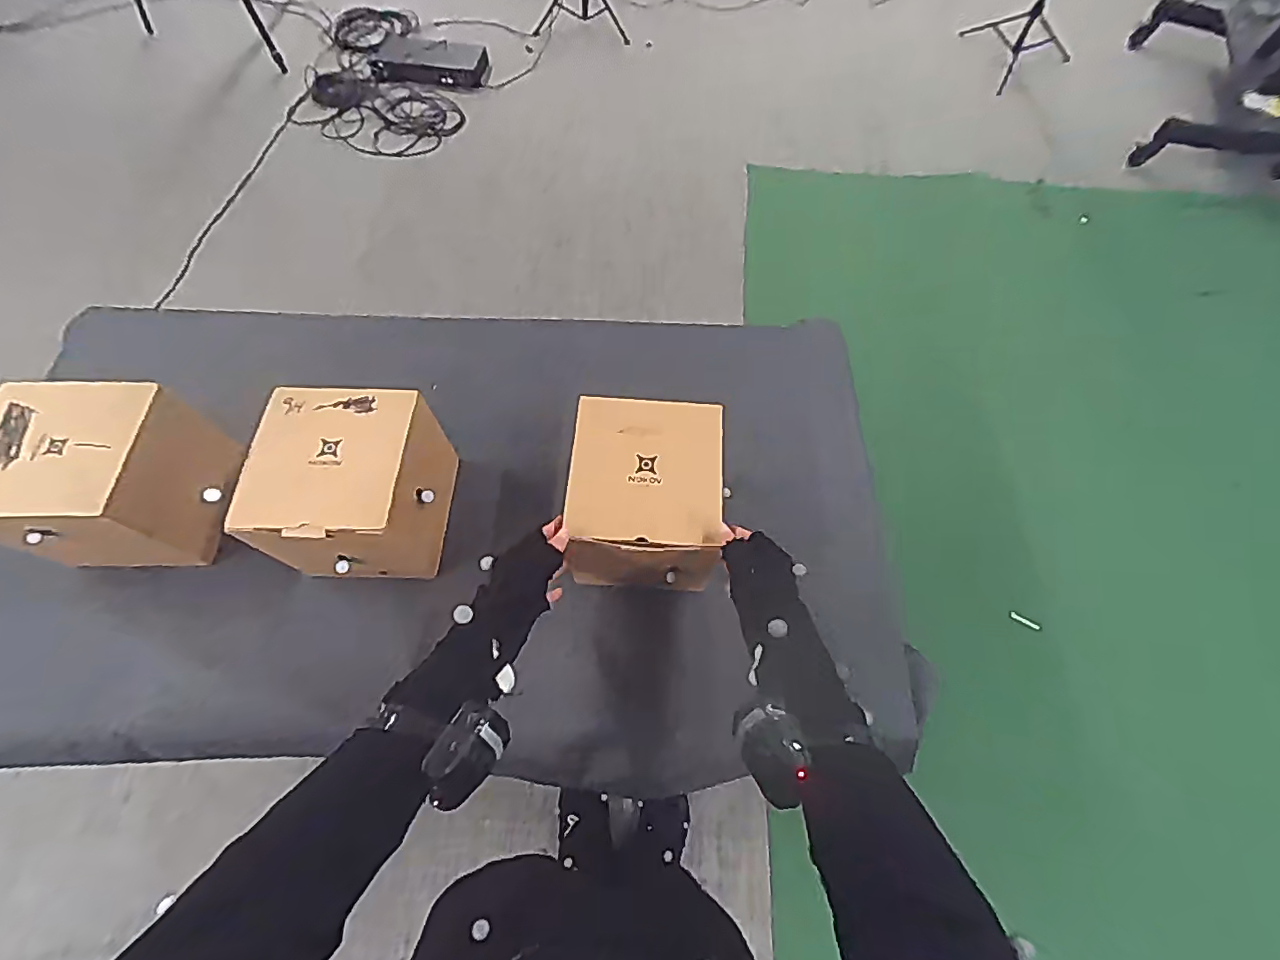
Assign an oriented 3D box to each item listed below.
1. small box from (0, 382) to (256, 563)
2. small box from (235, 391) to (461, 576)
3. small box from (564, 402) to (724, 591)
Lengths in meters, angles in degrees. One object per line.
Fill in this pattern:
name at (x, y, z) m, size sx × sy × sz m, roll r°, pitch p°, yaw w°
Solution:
small box at (-0.624, -0.001, 0.656) m, size 0.179 × 0.176 × 0.168 m, roll 1°, pitch 64°, yaw -2°
small box at (-0.331, 0.012, 0.657) m, size 0.168 × 0.176 × 0.179 m, roll 2°, pitch 64°, yaw 0°
small box at (0.008, 0.028, 0.658) m, size 0.168 × 0.176 × 0.179 m, roll 4°, pitch 63°, yaw 0°
